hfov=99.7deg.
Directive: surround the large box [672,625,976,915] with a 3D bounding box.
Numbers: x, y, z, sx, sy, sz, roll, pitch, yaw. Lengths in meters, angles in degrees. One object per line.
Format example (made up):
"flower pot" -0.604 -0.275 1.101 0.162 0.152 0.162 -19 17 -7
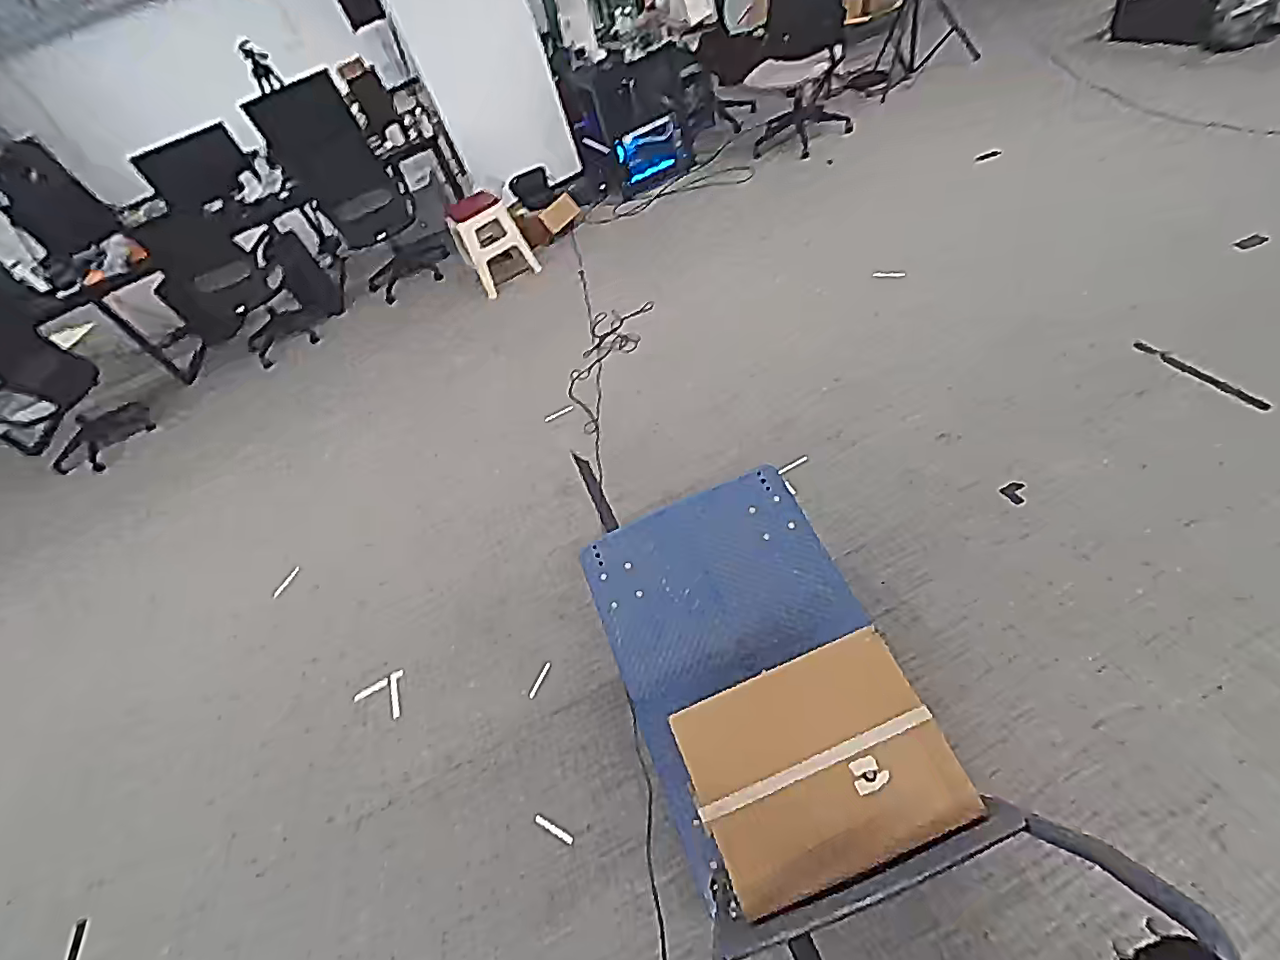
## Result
"large box" 0.315 0.531 1.036 0.408 0.320 0.320 -24 63 -2
